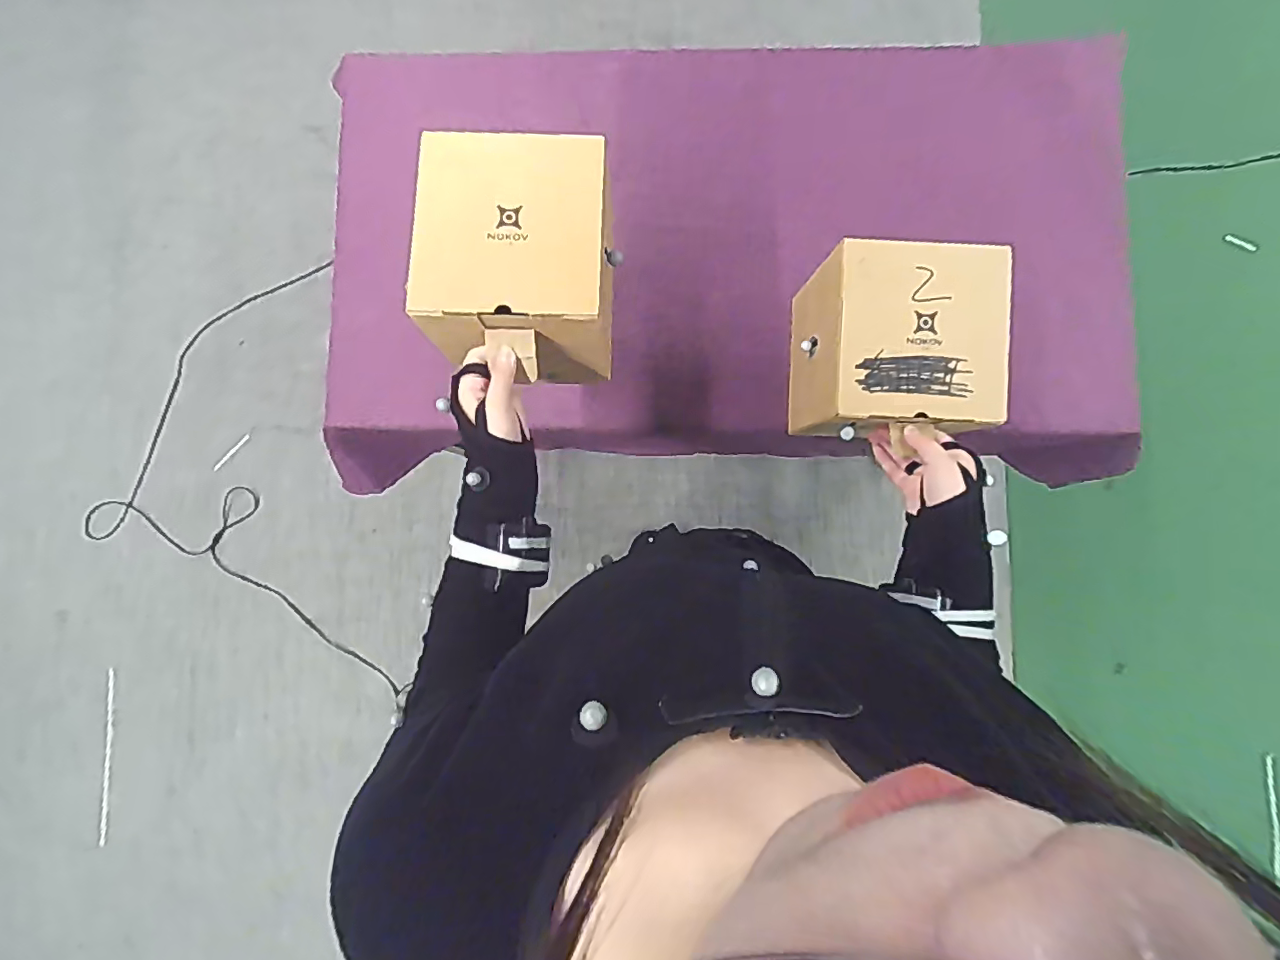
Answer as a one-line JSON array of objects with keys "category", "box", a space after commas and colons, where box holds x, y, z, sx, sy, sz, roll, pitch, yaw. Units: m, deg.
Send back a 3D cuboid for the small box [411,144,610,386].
[{"category": "small box", "box": [-0.119, -0.211, 0.565, 0.168, 0.176, 0.179, 0, 81, 0]}]
